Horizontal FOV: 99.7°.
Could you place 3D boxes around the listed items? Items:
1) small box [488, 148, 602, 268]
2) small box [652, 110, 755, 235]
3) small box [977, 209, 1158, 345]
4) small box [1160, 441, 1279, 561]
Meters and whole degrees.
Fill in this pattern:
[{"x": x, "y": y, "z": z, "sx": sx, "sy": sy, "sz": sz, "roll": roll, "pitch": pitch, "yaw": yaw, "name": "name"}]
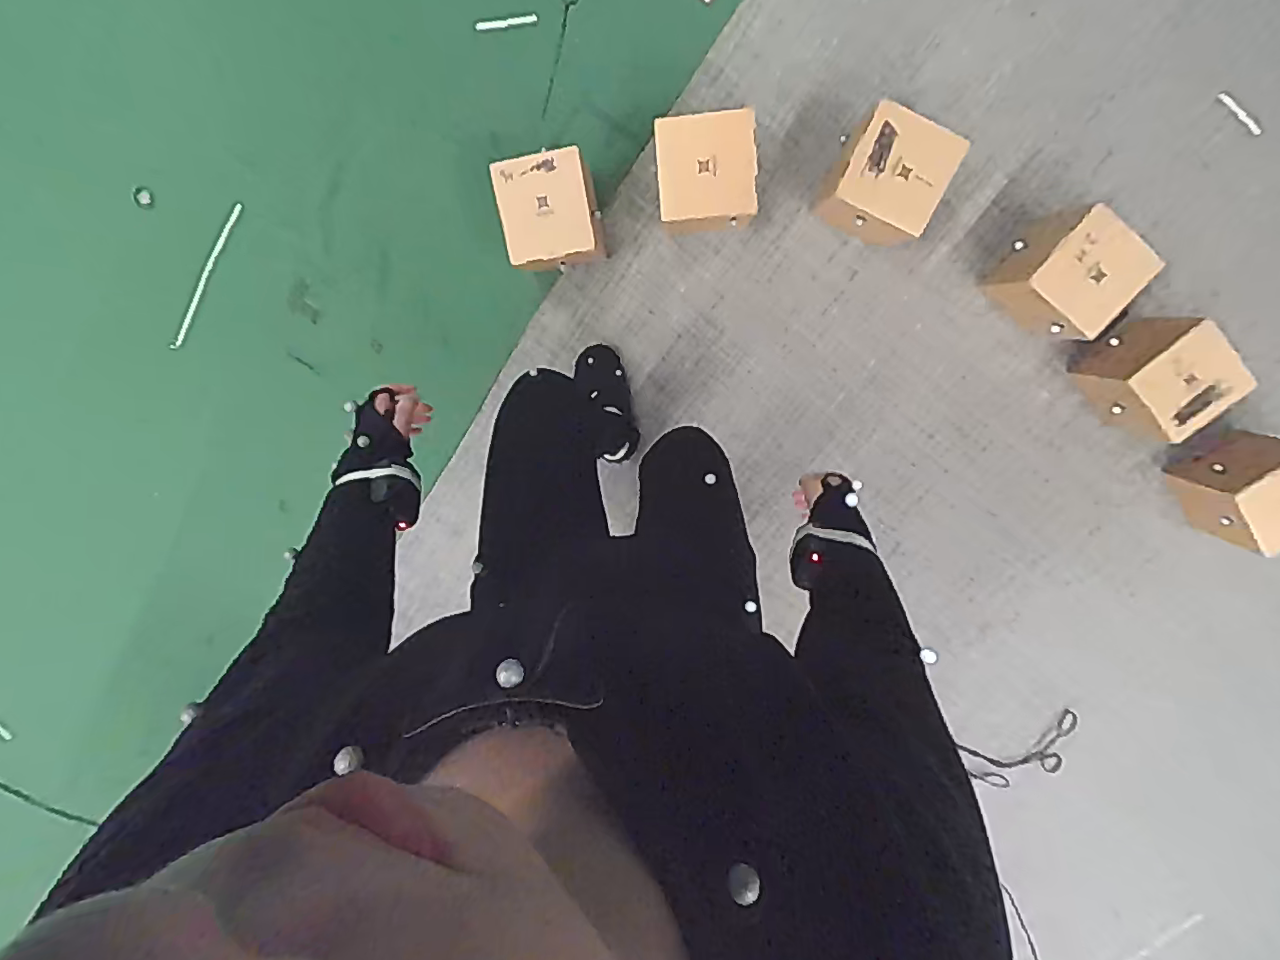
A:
[{"x": -0.174, "y": -0.516, "z": 1.054, "sx": 0.168, "sy": 0.176, "sz": 0.179, "roll": -8, "pitch": 107, "yaw": 5, "name": "small box"}, {"x": 0.118, "y": -0.571, "z": 1.025, "sx": 0.179, "sy": 0.176, "sz": 0.168, "roll": -4, "pitch": 106, "yaw": 4, "name": "small box"}, {"x": 0.809, "y": -0.385, "z": 1.043, "sx": 0.179, "sy": 0.176, "sz": 0.168, "roll": 37, "pitch": 105, "yaw": -8, "name": "small box"}, {"x": 1.281, "y": 0.034, "z": 1.150, "sx": 0.168, "sy": 0.176, "sz": 0.179, "roll": -35, "pitch": 103, "yaw": 13, "name": "small box"}]
